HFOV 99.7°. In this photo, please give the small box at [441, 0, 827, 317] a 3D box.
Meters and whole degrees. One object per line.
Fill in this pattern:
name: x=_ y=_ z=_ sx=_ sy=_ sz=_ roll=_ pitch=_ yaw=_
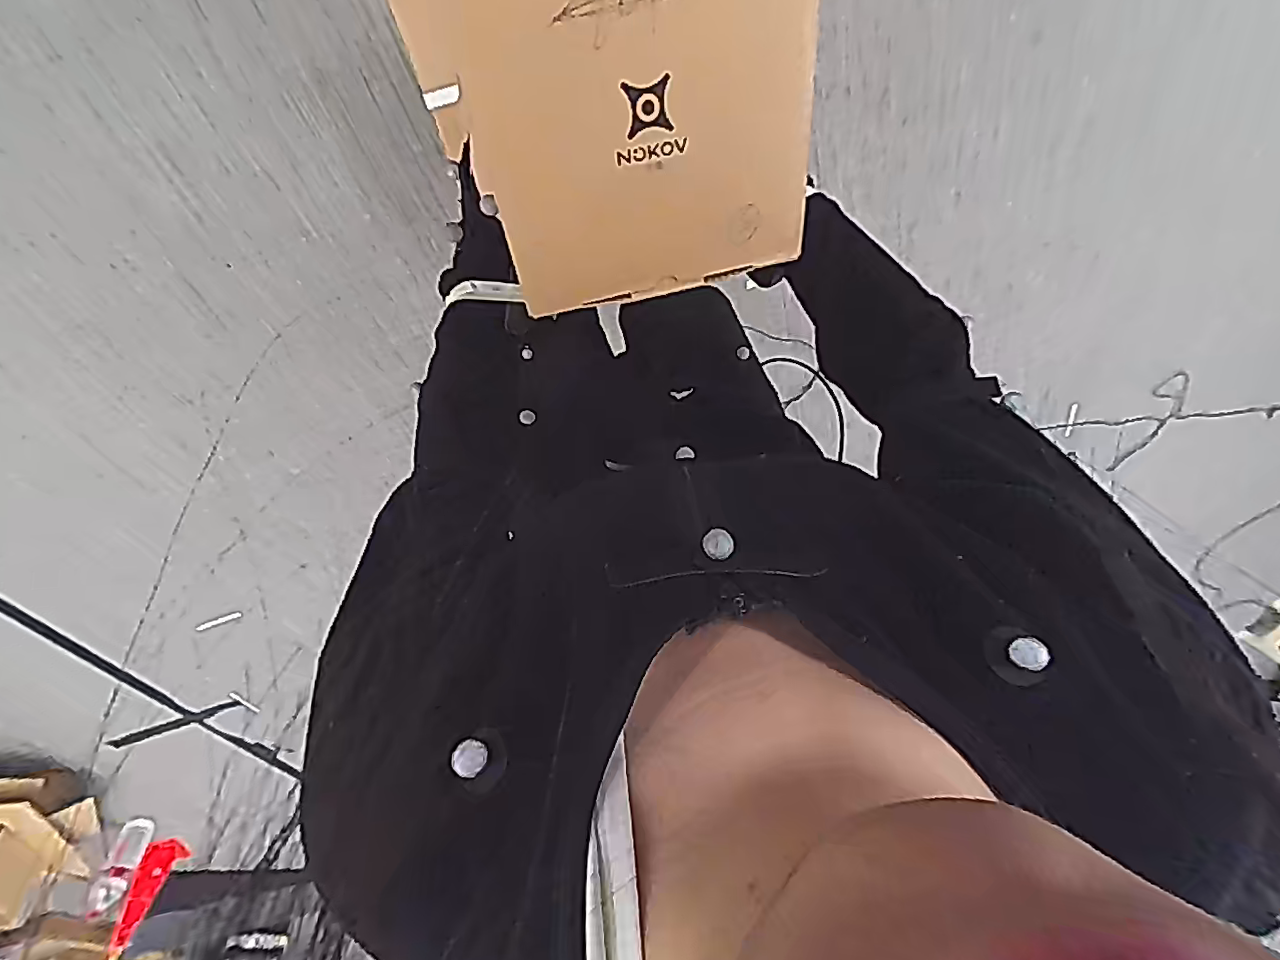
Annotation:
small box: x=-0.009 y=-0.226 z=0.314 sx=0.168 sy=0.176 sz=0.179 roll=-14 pitch=134 yaw=-3
